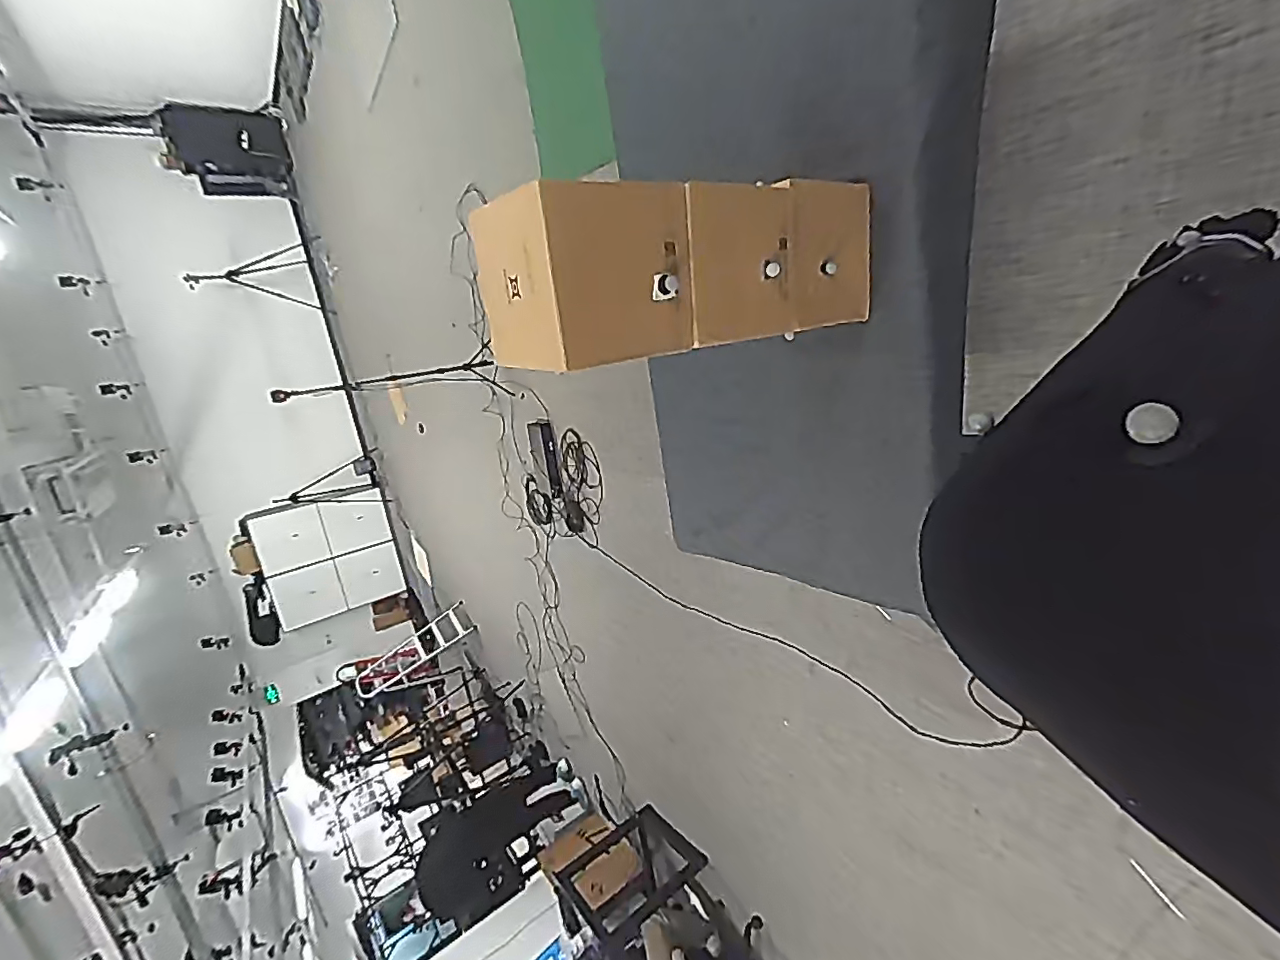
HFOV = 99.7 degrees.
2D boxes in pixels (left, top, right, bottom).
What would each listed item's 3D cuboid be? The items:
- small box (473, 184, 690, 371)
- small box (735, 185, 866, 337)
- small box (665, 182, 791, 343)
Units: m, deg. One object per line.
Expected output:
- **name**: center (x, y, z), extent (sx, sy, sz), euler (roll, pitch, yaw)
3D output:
- **small box**: center (-0.063, -0.221, 0.605), extent (0.179, 0.176, 0.168), euler (18, 122, 51)
- **small box**: center (0.204, -0.307, 0.772), extent (0.168, 0.176, 0.179), euler (15, 119, 53)
- **small box**: center (0.068, -0.264, 0.689), extent (0.179, 0.176, 0.168), euler (16, 119, 55)
